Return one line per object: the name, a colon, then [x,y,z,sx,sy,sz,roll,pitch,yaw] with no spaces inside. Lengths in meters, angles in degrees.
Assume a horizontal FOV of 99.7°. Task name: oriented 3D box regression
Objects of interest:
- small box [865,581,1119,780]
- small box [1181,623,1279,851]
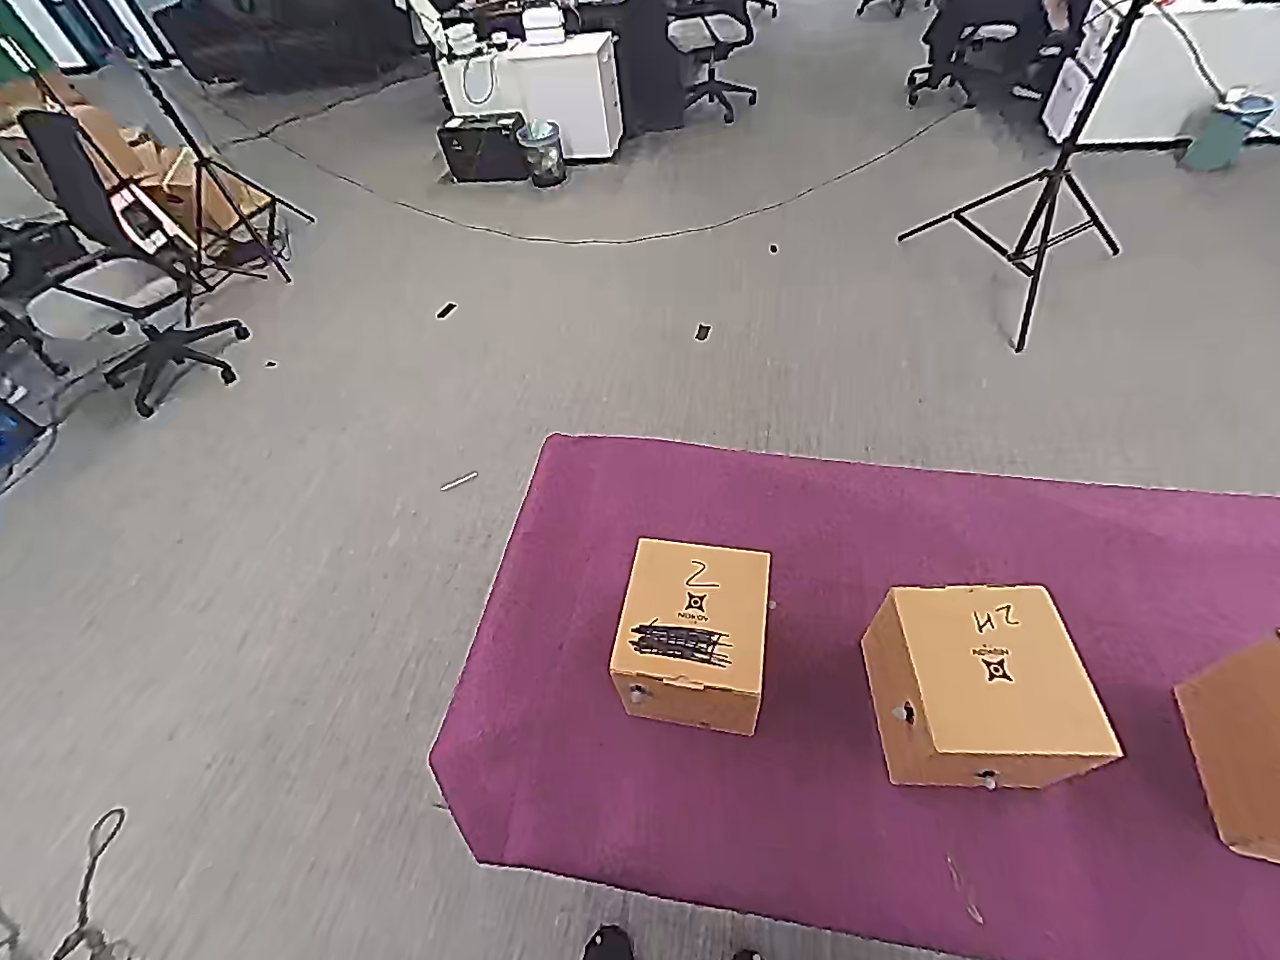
small box: [0.374,0.232,0.618,0.168,0.176,0.179,-2,51,6]
small box: [0.708,0.272,0.539,0.168,0.176,0.179,8,52,15]
